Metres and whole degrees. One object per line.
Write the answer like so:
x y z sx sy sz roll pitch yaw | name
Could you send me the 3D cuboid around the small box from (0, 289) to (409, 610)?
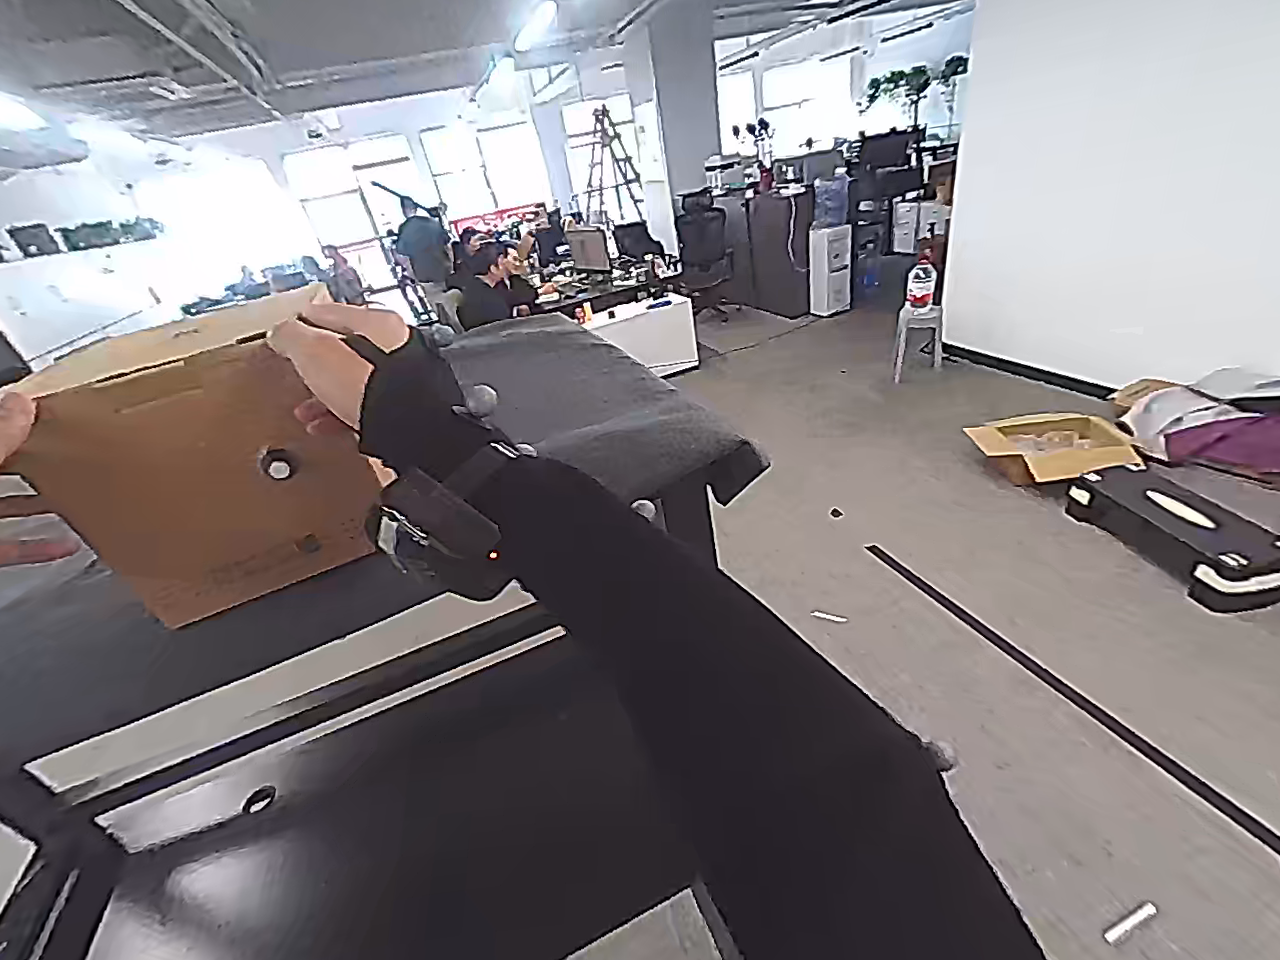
-0.290 -0.026 0.411 0.168 0.176 0.179 -21 33 -13 | small box
